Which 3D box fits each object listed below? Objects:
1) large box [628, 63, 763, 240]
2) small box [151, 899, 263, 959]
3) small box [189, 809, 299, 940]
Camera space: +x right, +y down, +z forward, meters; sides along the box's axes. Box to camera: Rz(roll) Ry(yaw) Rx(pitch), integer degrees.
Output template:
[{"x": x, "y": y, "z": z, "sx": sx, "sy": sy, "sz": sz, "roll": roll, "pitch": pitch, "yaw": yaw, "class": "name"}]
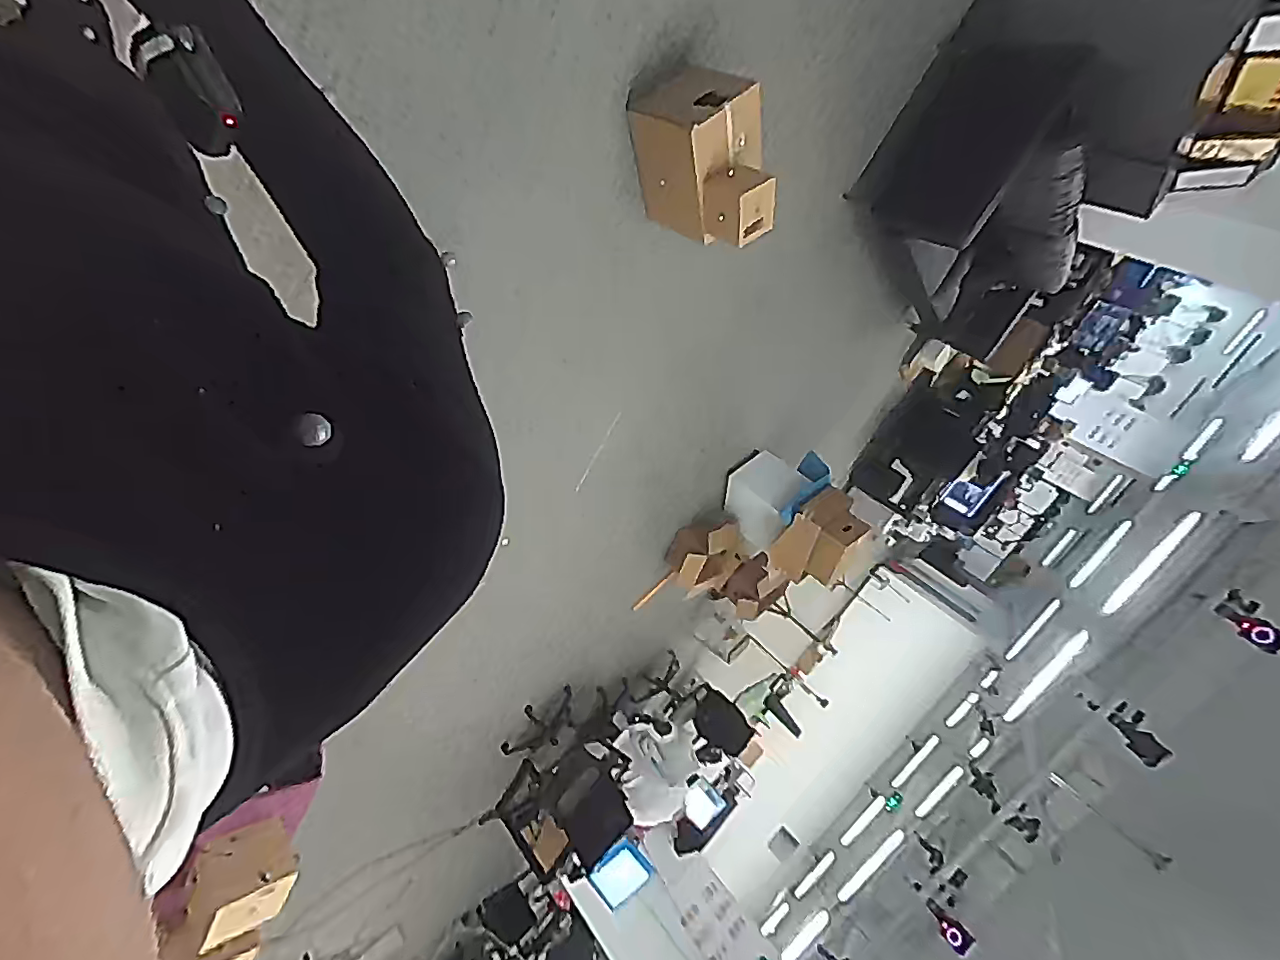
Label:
[{"x": 0.205, "y": -1.137, "z": 1.883, "sx": 0.320, "sy": 0.320, "sz": 0.408, "roll": -43, "pitch": 148, "yaw": -13, "class": "large box"}, {"x": -1.139, "y": 1.209, "z": 1.421, "sx": 0.179, "sy": 0.176, "sz": 0.168, "roll": 10, "pitch": 116, "yaw": -55, "class": "small box"}, {"x": -0.990, "y": 0.970, "z": 1.346, "sx": 0.168, "sy": 0.176, "sz": 0.179, "roll": 6, "pitch": 121, "yaw": -55, "class": "small box"}]
